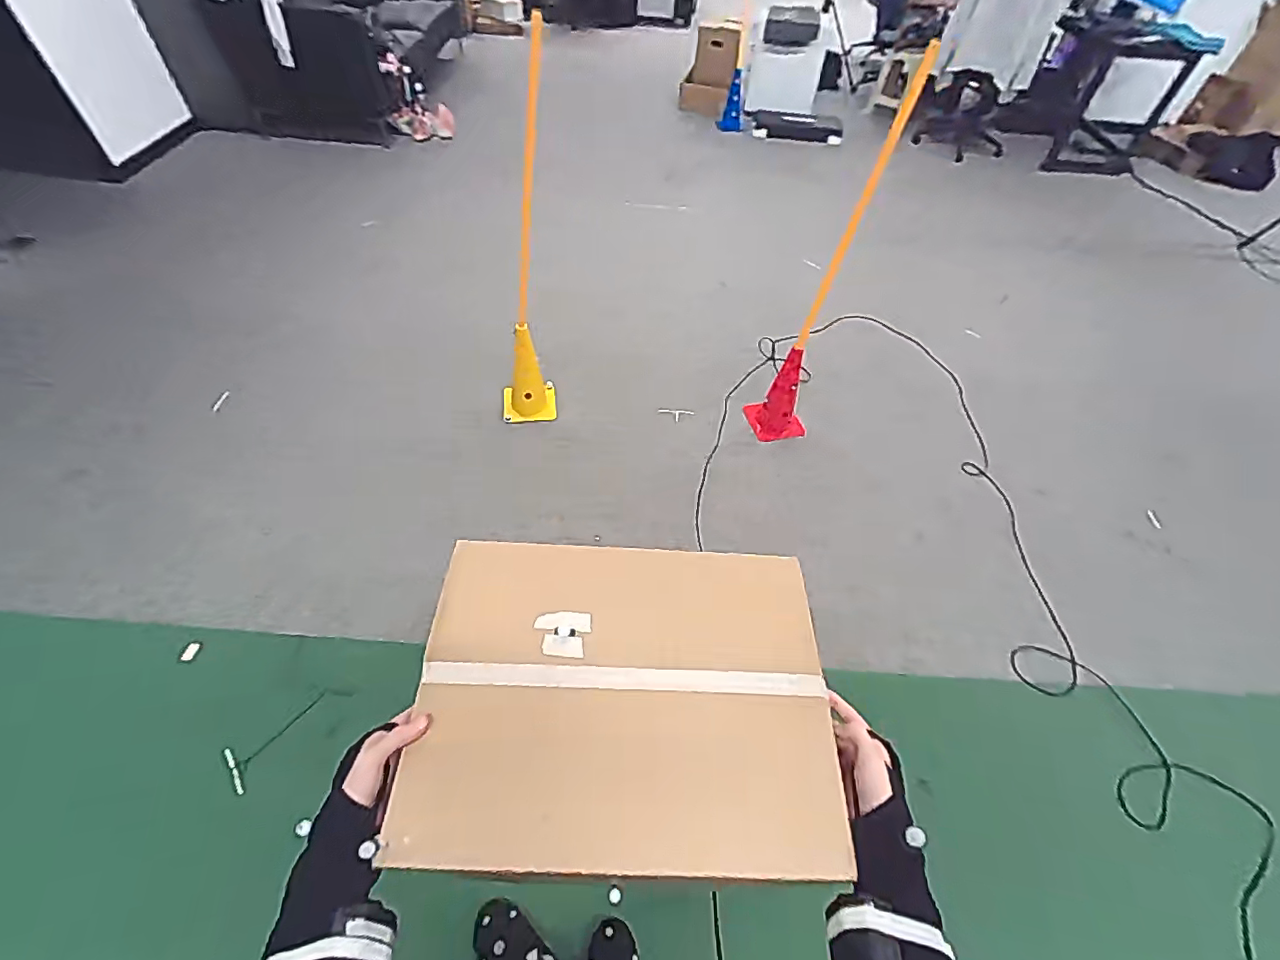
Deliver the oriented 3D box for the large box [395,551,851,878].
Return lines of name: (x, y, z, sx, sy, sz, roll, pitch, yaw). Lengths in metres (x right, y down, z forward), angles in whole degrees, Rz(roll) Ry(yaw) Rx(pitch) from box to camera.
large box: (-0.015, 0.301, 0.673, 0.408, 0.320, 0.320, 2, 50, -1)
